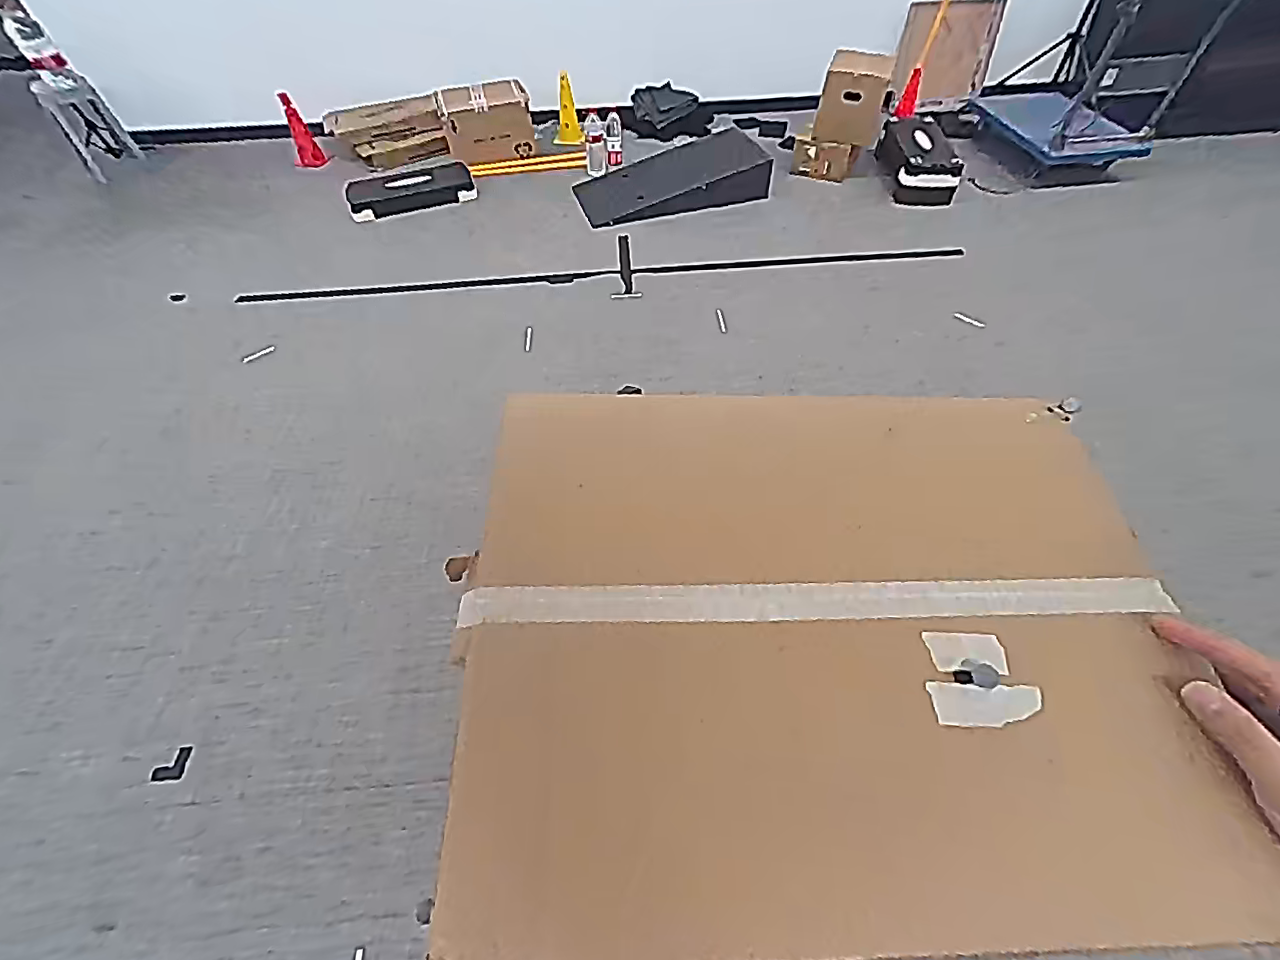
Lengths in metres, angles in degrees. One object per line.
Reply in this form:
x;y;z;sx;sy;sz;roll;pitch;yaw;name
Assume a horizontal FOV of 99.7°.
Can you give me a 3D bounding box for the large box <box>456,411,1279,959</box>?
0.101;0.158;0.449;0.408;0.320;0.320;0;58;-4;large box
